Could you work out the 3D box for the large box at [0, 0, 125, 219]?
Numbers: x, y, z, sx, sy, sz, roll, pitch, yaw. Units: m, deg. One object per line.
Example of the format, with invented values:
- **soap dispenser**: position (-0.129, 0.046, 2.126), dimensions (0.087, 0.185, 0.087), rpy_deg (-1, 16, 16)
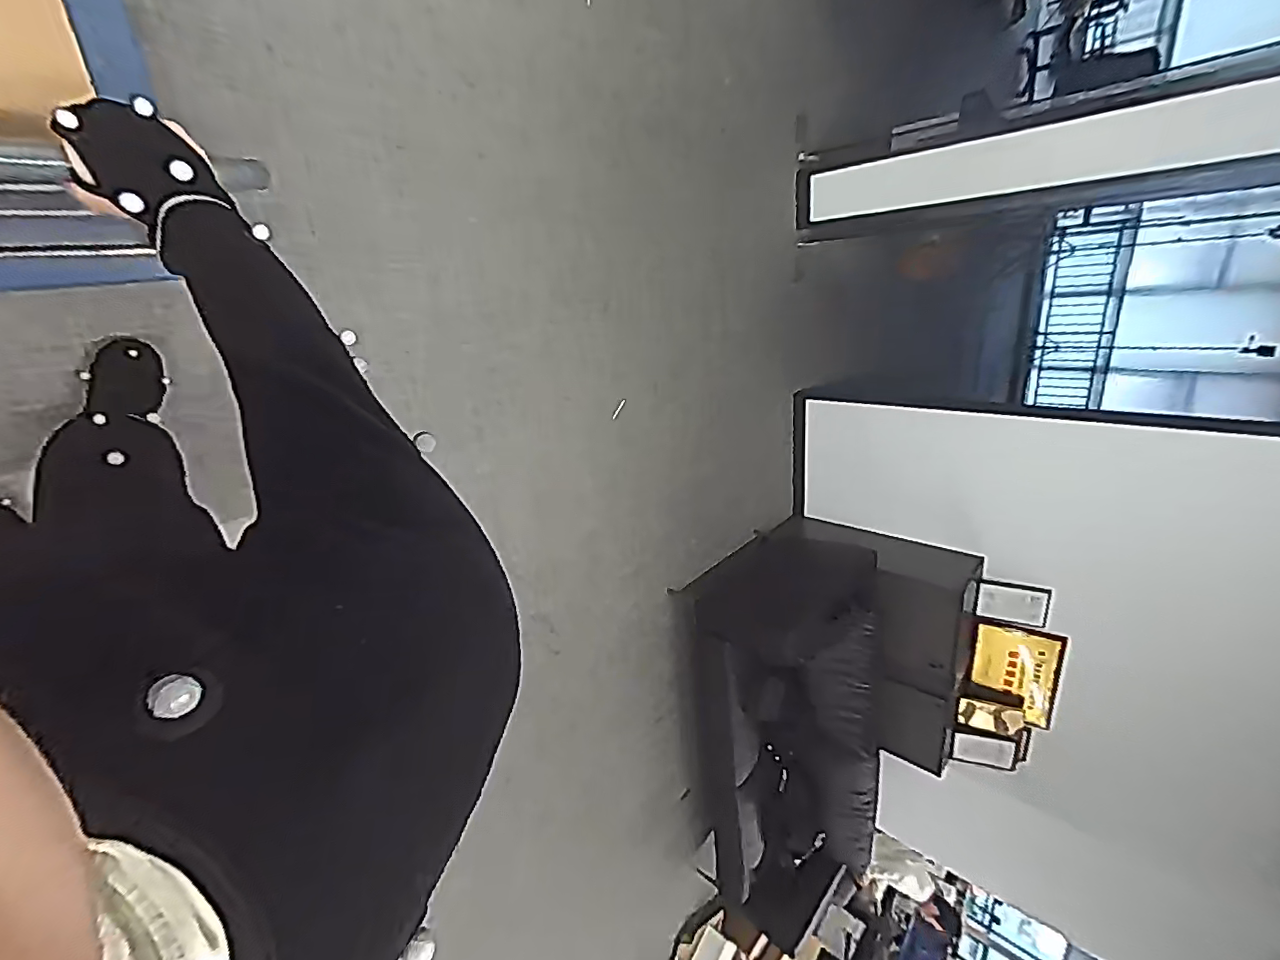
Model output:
- **large box**: position (-0.959, -0.577, 0.701), dimensions (0.320, 0.320, 0.408), rpy_deg (-24, 117, -42)
